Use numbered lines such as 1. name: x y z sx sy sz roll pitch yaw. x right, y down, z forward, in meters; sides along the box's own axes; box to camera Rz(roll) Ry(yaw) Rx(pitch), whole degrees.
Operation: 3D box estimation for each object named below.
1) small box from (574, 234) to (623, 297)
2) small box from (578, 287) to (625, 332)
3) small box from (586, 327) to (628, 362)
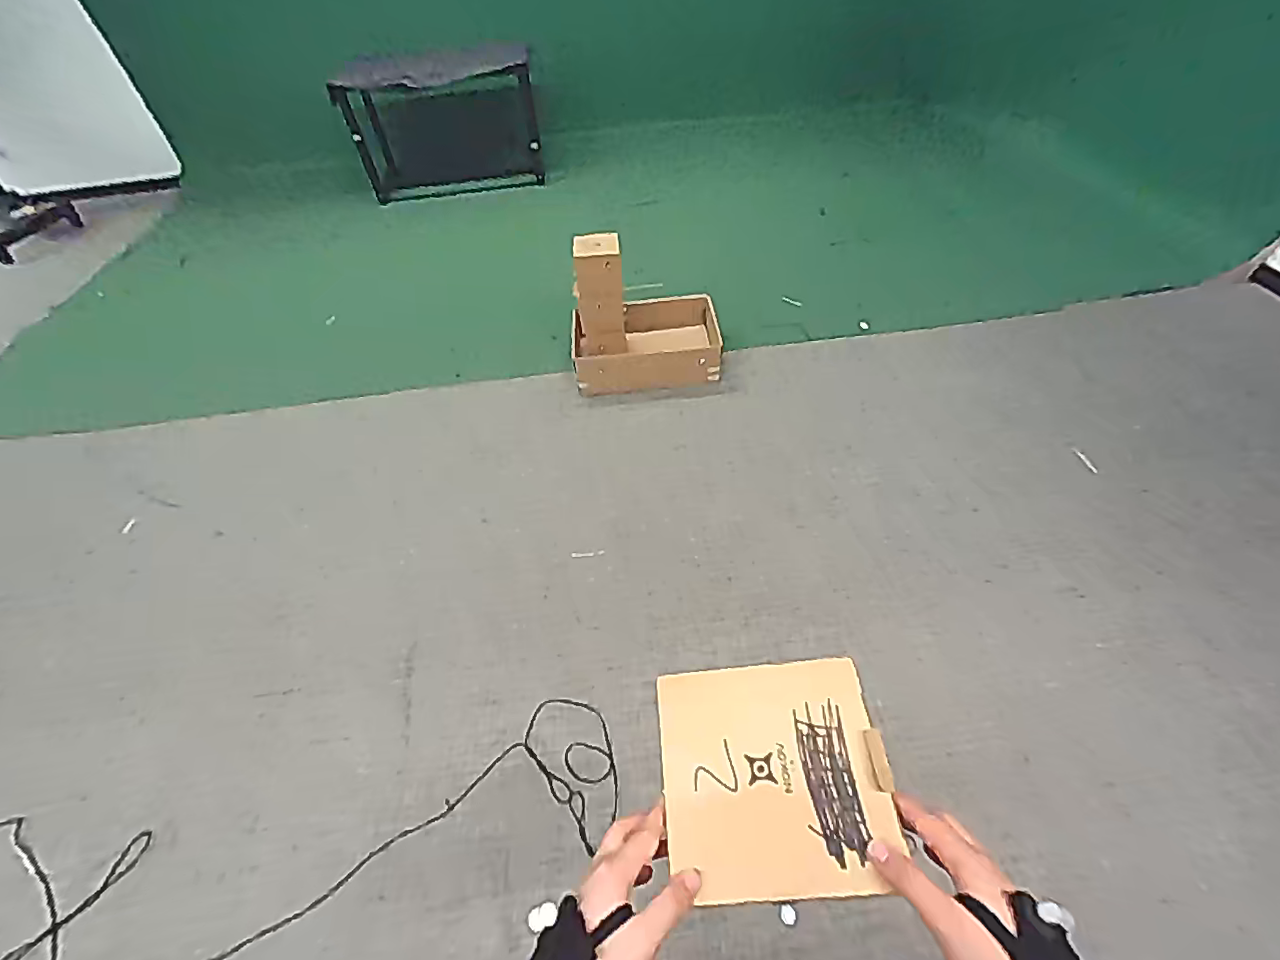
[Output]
1. small box: -0.157 -0.833 2.101 0.179 0.176 0.168 -6 49 0
2. small box: -0.157 -0.726 2.228 0.179 0.176 0.168 -5 50 -1
3. small box: -0.143 -0.628 2.359 0.168 0.176 0.179 -6 50 -1
